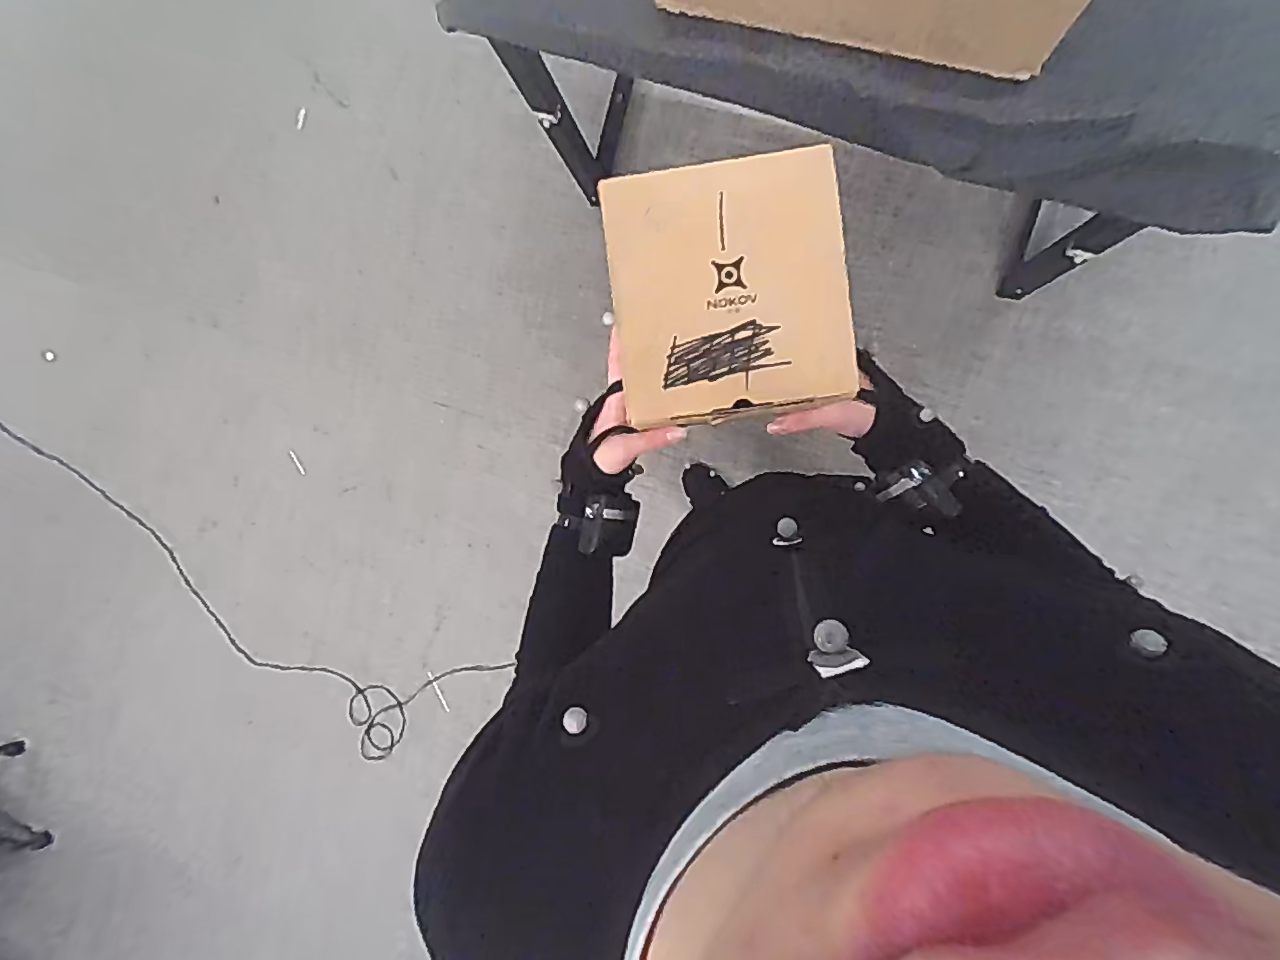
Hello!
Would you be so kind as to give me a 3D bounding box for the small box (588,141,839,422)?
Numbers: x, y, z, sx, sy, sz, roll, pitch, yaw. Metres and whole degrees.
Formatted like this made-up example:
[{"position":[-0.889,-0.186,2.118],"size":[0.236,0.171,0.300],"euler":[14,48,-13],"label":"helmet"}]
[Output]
[{"position":[0.058,-0.144,0.462],"size":[0.168,0.176,0.179],"euler":[-7,93,4],"label":"small box"}]
